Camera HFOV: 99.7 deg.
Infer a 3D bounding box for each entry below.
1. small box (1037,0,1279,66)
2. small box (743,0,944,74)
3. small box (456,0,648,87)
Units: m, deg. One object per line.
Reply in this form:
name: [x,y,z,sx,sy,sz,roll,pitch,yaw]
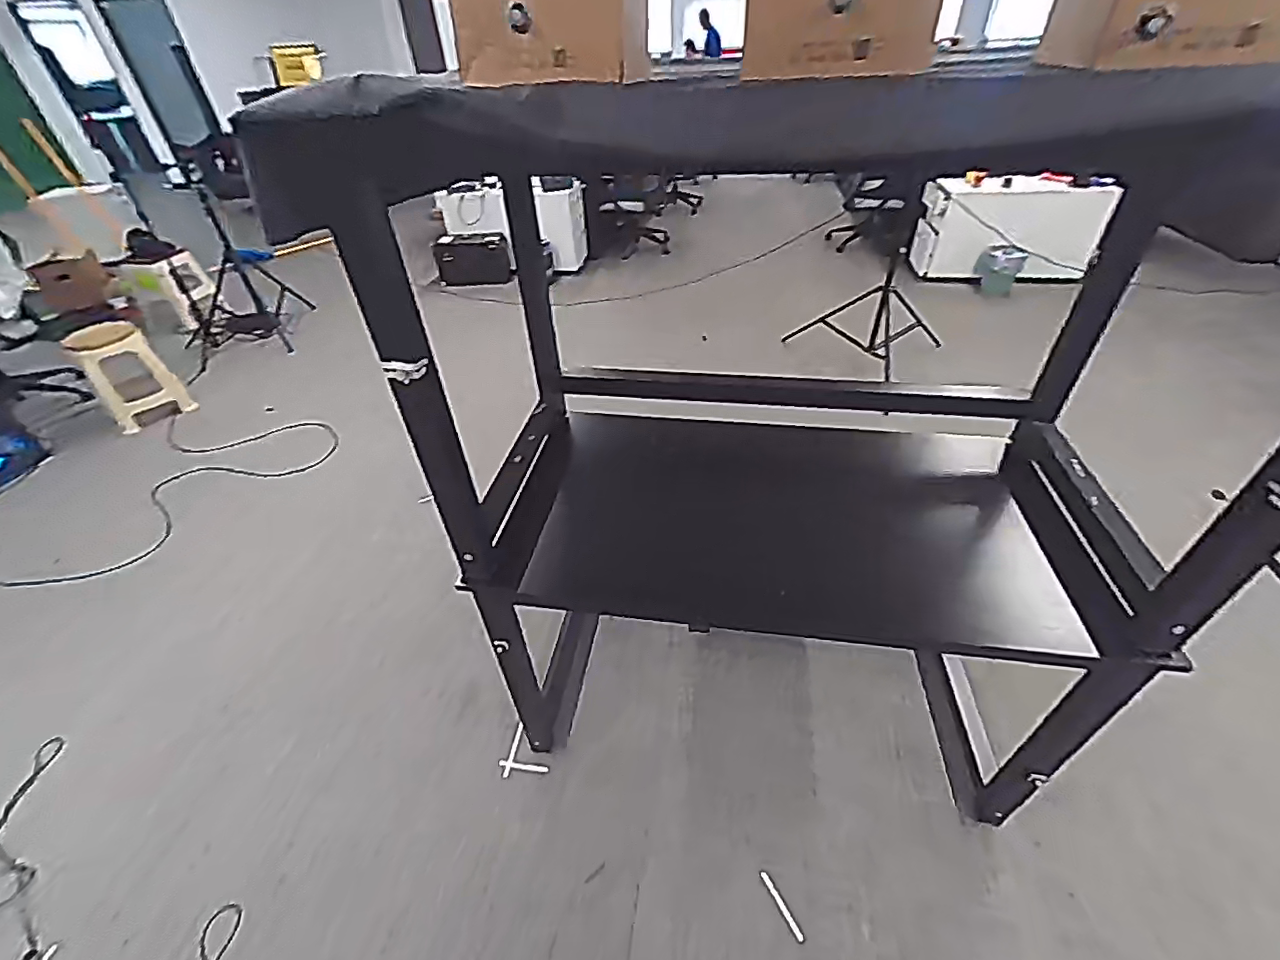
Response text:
small box: [0.482,-0.463,0.458,0.168,0.176,0.179,7,39,12]
small box: [0.187,-0.484,0.500,0.168,0.176,0.179,5,38,10]
small box: [-0.083,-0.503,0.540,0.168,0.176,0.179,5,39,7]
